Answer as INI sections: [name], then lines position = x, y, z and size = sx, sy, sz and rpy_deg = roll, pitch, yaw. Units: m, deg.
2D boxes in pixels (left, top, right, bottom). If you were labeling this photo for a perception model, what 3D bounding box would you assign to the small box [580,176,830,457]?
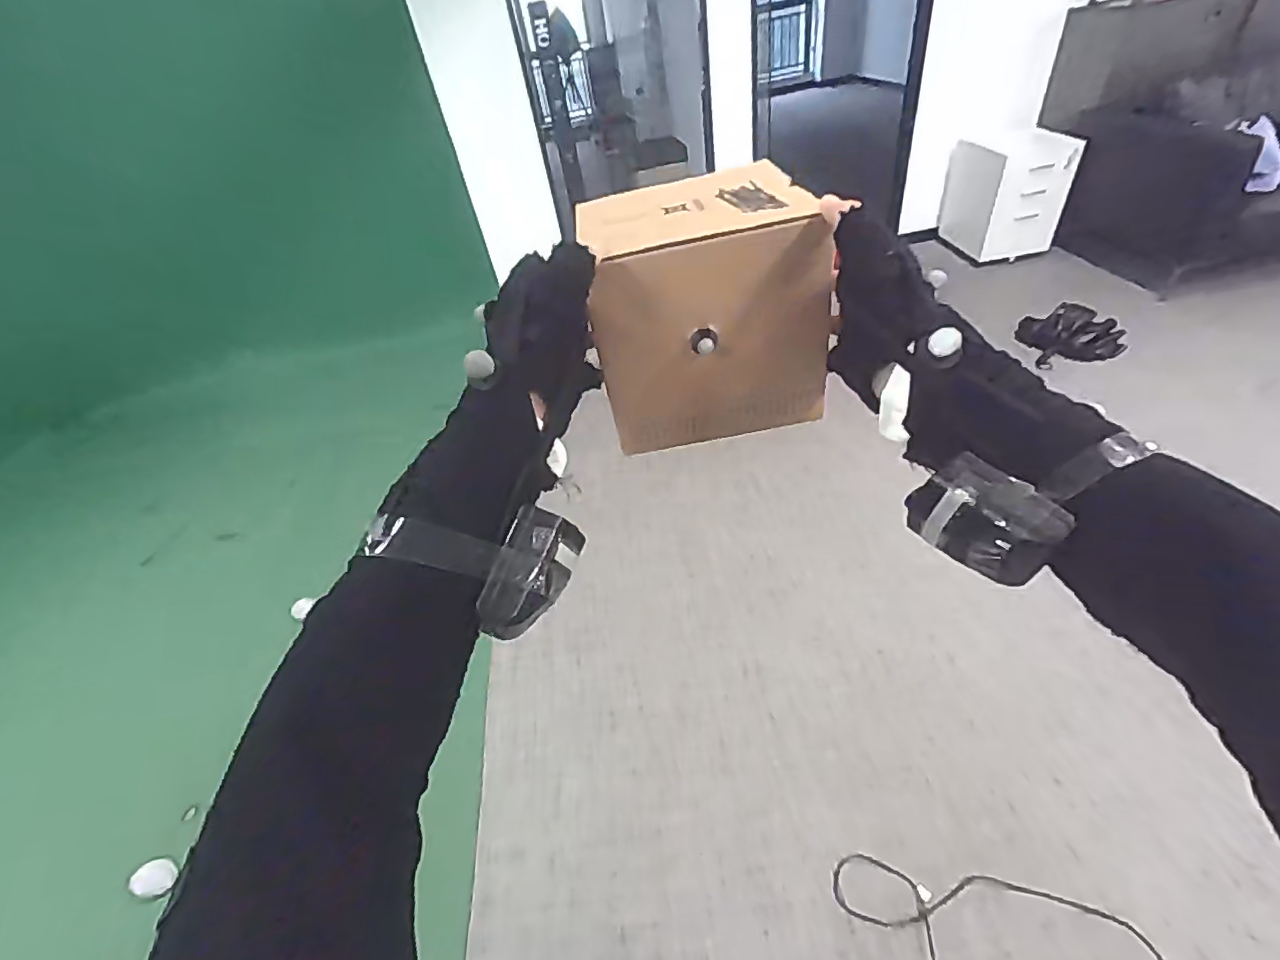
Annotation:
[small box]
position = 0.052, -0.143, 0.479
size = 0.179, 0.176, 0.168
rpy_deg = -12, 39, 3
